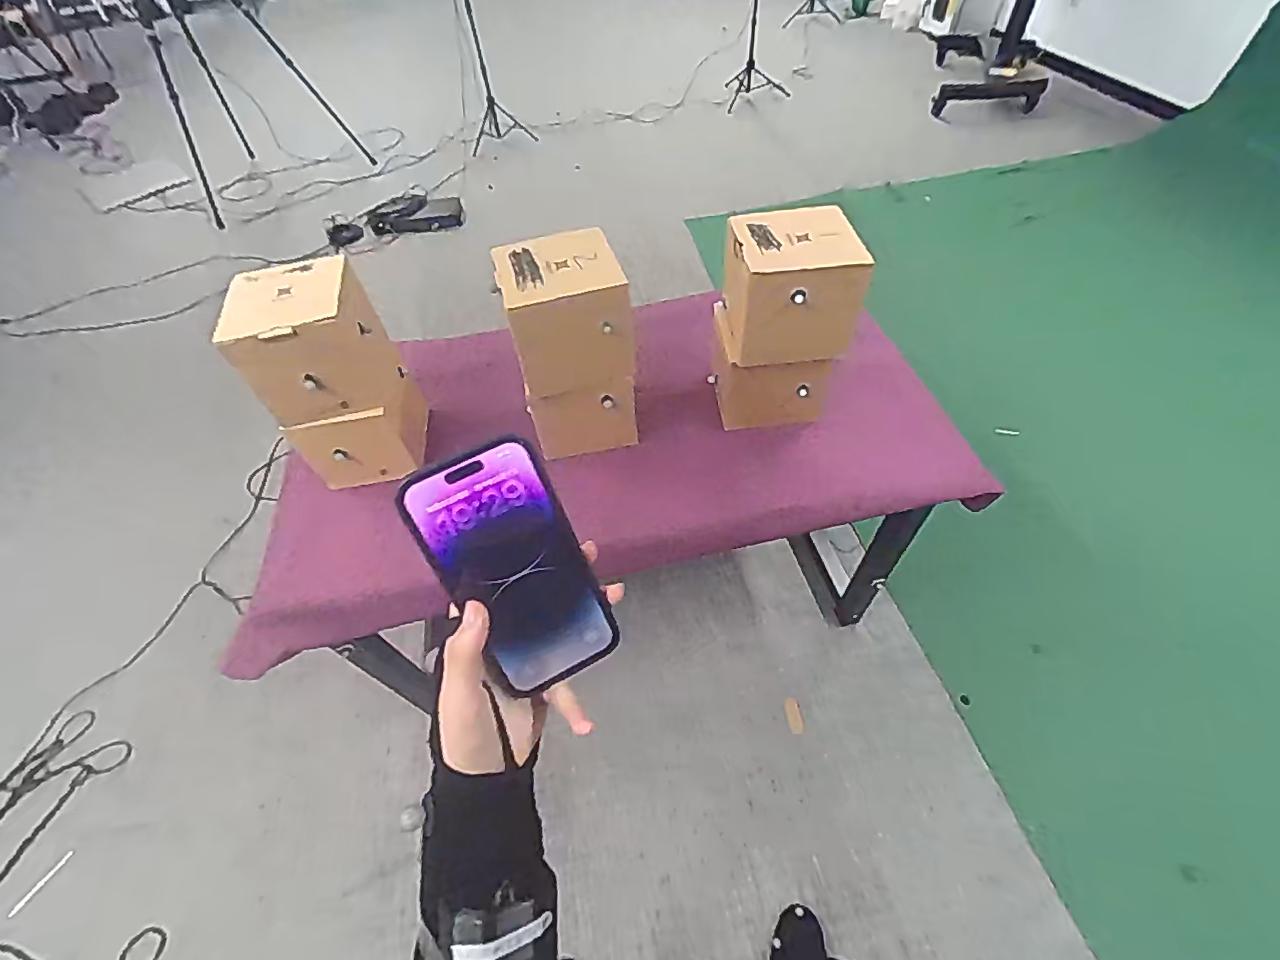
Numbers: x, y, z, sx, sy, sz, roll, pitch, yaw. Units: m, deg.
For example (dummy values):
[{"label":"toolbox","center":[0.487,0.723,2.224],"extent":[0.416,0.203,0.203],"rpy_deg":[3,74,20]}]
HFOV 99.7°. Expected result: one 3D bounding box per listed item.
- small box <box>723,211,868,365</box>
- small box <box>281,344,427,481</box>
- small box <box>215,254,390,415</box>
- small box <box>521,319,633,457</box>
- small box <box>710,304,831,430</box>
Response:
[{"label":"small box","center":[0.229,-0.297,0.854],"extent":[0.179,0.176,0.168],"rpy_deg":[-5,52,0]},{"label":"small box","center":[-0.498,-0.113,0.972],"extent":[0.168,0.176,0.179],"rpy_deg":[-9,53,-3]},{"label":"small box","center":[-0.509,-0.219,0.846],"extent":[0.168,0.176,0.179],"rpy_deg":[-13,54,-7]},{"label":"small box","center":[-0.110,-0.164,0.980],"extent":[0.179,0.176,0.168],"rpy_deg":[-10,53,-3]},{"label":"small box","center":[0.227,-0.209,0.993],"extent":[0.179,0.176,0.168],"rpy_deg":[-5,52,1]}]
